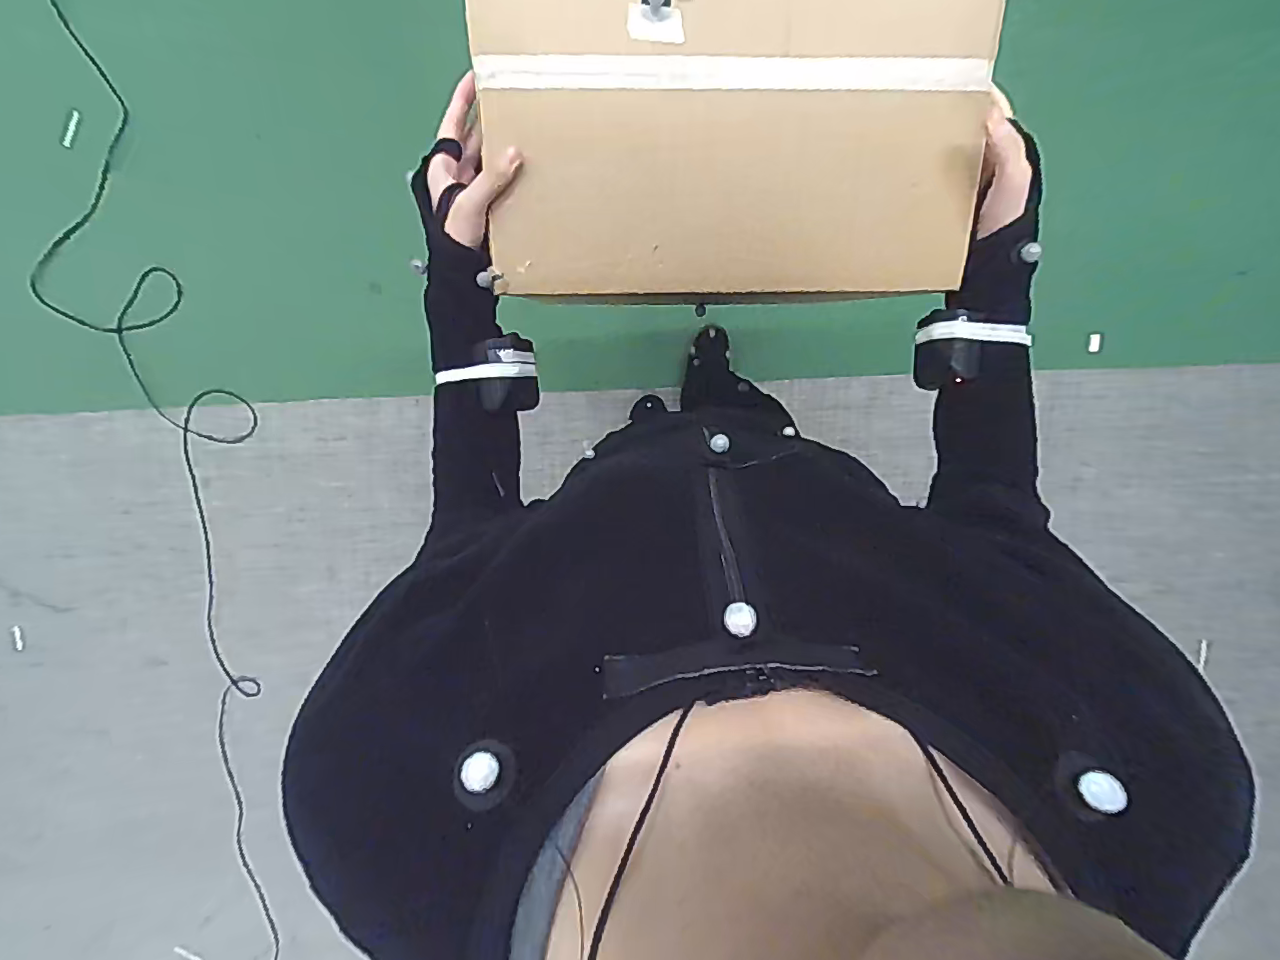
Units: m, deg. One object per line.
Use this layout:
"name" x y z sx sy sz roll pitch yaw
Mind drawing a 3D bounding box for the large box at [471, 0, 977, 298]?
"large box" 0.063 -0.361 0.579 0.408 0.320 0.320 -1 106 -2
